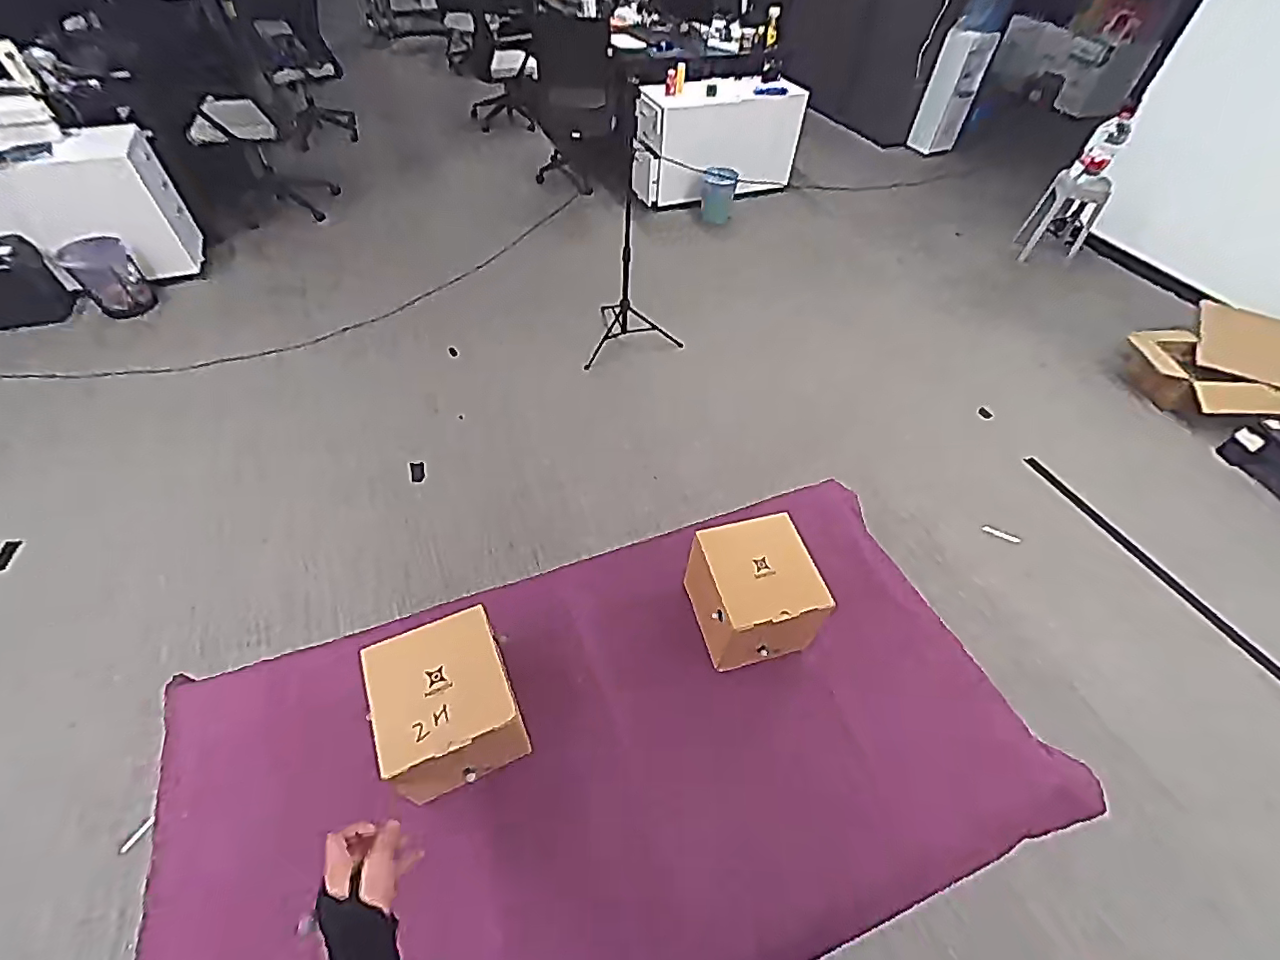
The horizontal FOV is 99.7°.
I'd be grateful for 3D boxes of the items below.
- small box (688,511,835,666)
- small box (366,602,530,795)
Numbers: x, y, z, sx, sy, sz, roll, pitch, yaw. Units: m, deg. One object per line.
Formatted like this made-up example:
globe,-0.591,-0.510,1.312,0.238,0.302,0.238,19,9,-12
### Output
small box,0.187,0.180,0.898,0.168,0.176,0.179,-11,53,-11
small box,-0.265,0.309,0.765,0.168,0.176,0.179,-19,54,-18
